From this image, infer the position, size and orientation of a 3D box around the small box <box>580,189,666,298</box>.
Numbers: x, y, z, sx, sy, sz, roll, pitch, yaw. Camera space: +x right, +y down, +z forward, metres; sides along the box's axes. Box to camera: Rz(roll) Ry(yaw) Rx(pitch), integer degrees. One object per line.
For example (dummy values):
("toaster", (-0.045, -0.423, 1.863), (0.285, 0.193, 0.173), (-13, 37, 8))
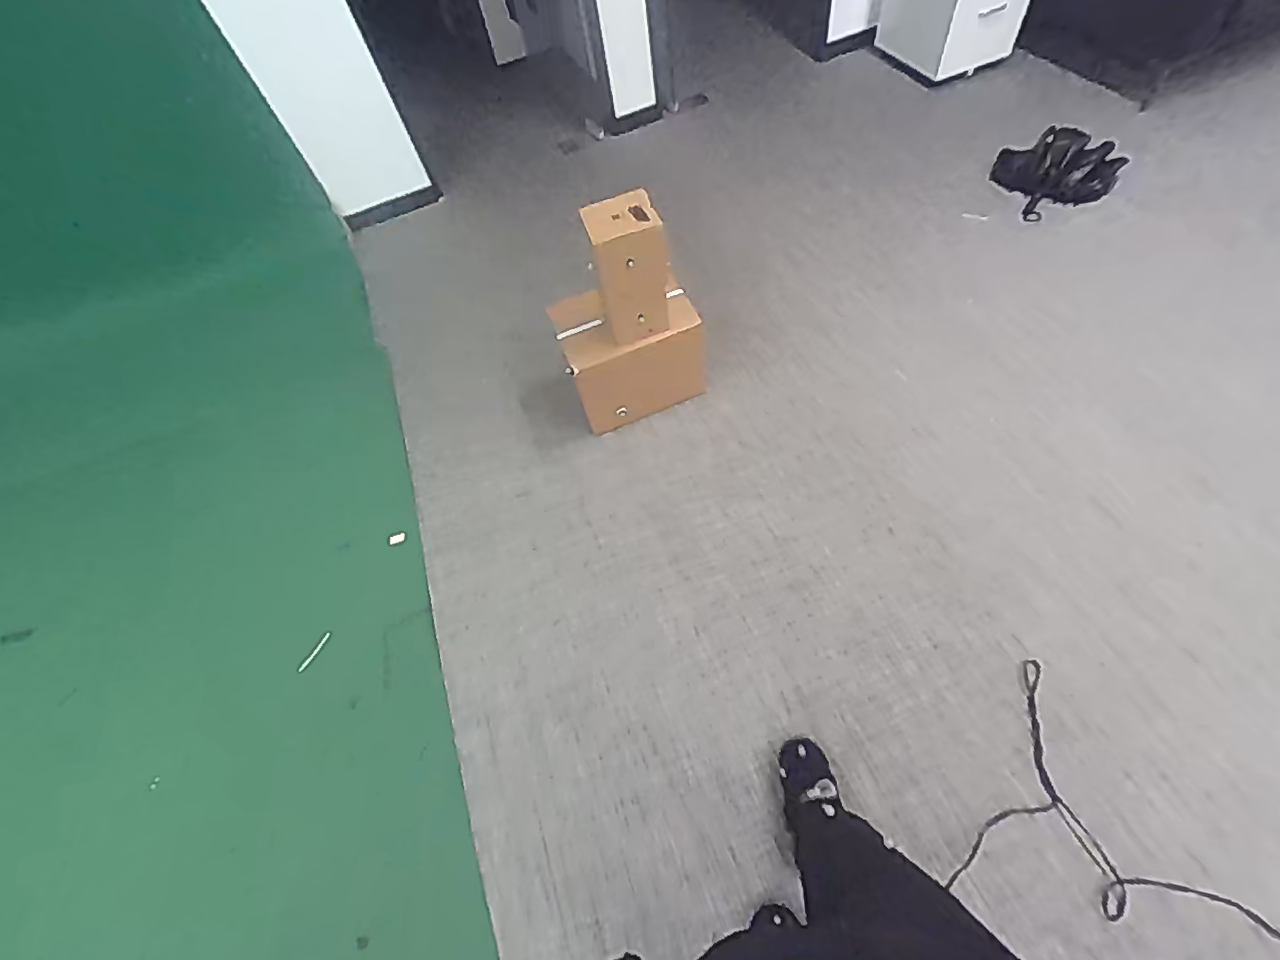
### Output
("small box", (-0.038, -0.598, 1.377), (0.179, 0.176, 0.168), (-18, 58, -1))

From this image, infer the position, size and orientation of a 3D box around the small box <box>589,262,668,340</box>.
("small box", (-0.028, -0.518, 1.522), (0.168, 0.176, 0.179), (-20, 59, -3))
